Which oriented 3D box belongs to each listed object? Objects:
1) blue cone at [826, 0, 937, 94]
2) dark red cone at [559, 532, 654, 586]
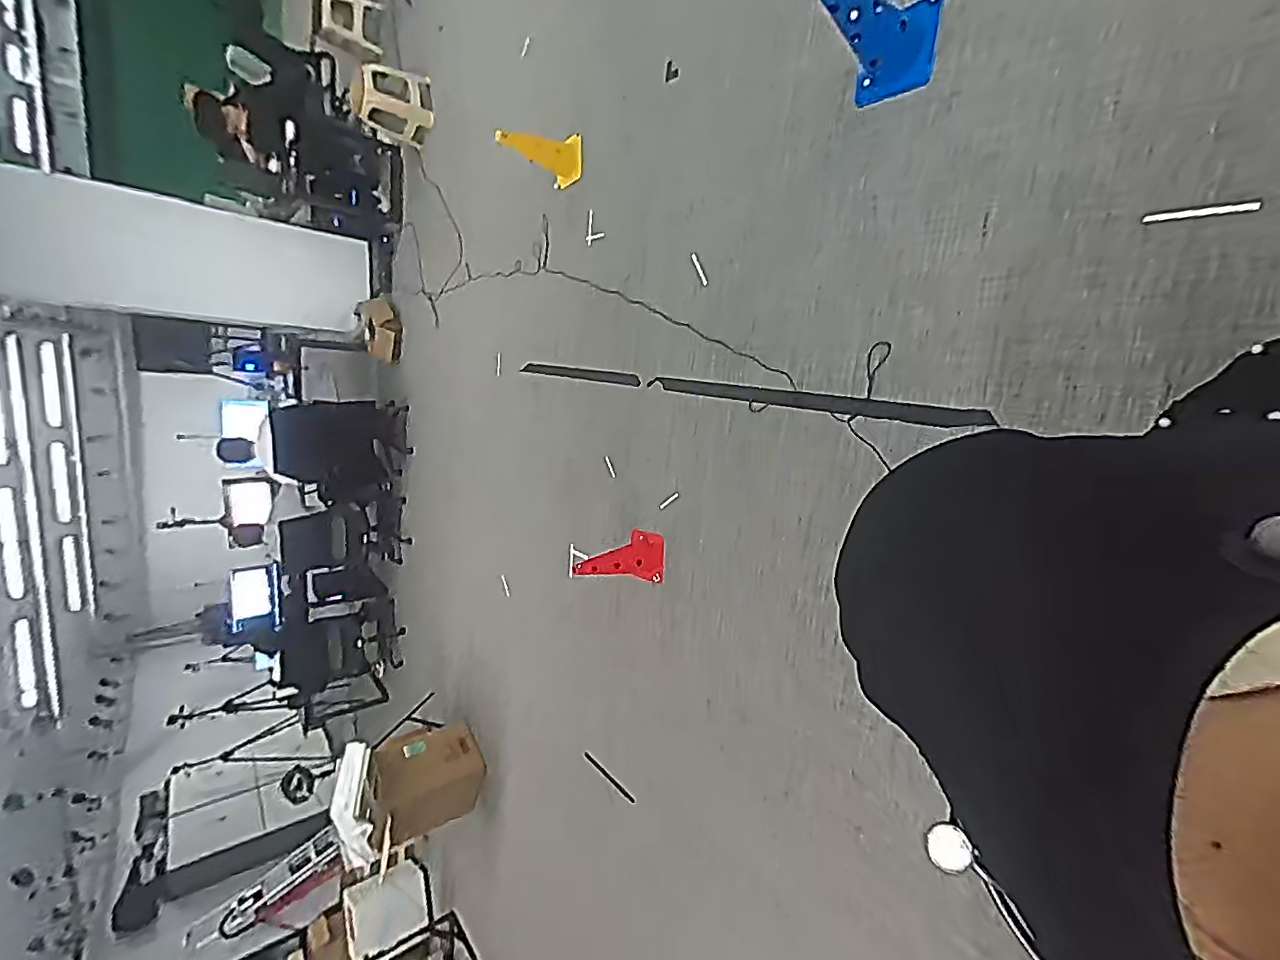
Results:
[{"bbox_3d":[0.506,-1.076,1.239,0.193,0.380,0.192,19,107,48],"label":"blue cone"},{"bbox_3d":[-0.135,0.323,2.094,0.202,0.394,0.201,6,97,50],"label":"dark red cone"}]
